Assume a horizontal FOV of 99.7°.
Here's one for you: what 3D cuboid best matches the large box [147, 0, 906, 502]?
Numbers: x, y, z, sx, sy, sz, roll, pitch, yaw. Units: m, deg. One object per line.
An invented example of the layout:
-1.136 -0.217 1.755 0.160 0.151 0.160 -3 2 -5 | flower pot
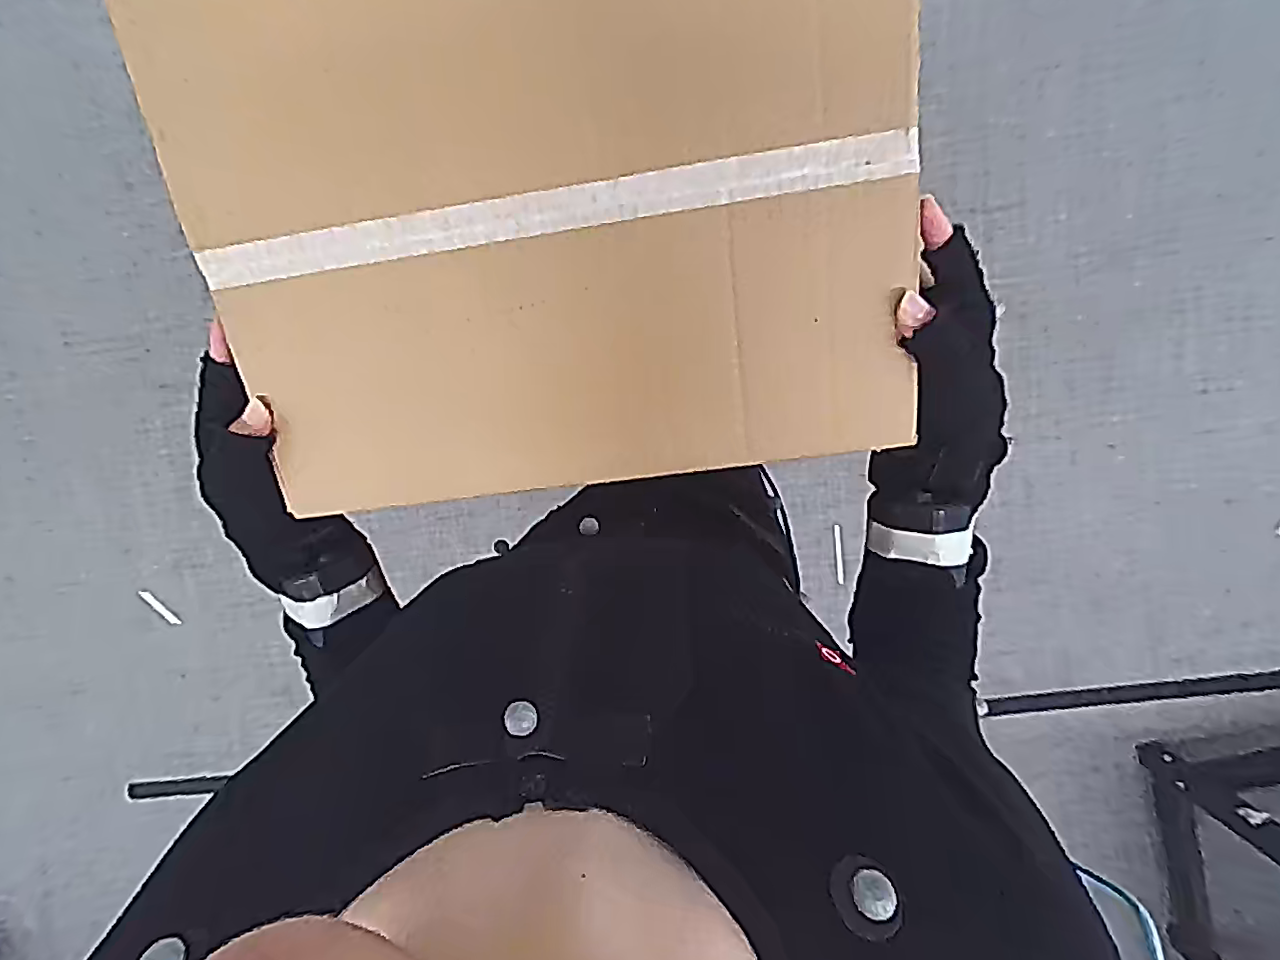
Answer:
-0.046 -0.197 0.456 0.408 0.320 0.320 -7 107 5 | large box
